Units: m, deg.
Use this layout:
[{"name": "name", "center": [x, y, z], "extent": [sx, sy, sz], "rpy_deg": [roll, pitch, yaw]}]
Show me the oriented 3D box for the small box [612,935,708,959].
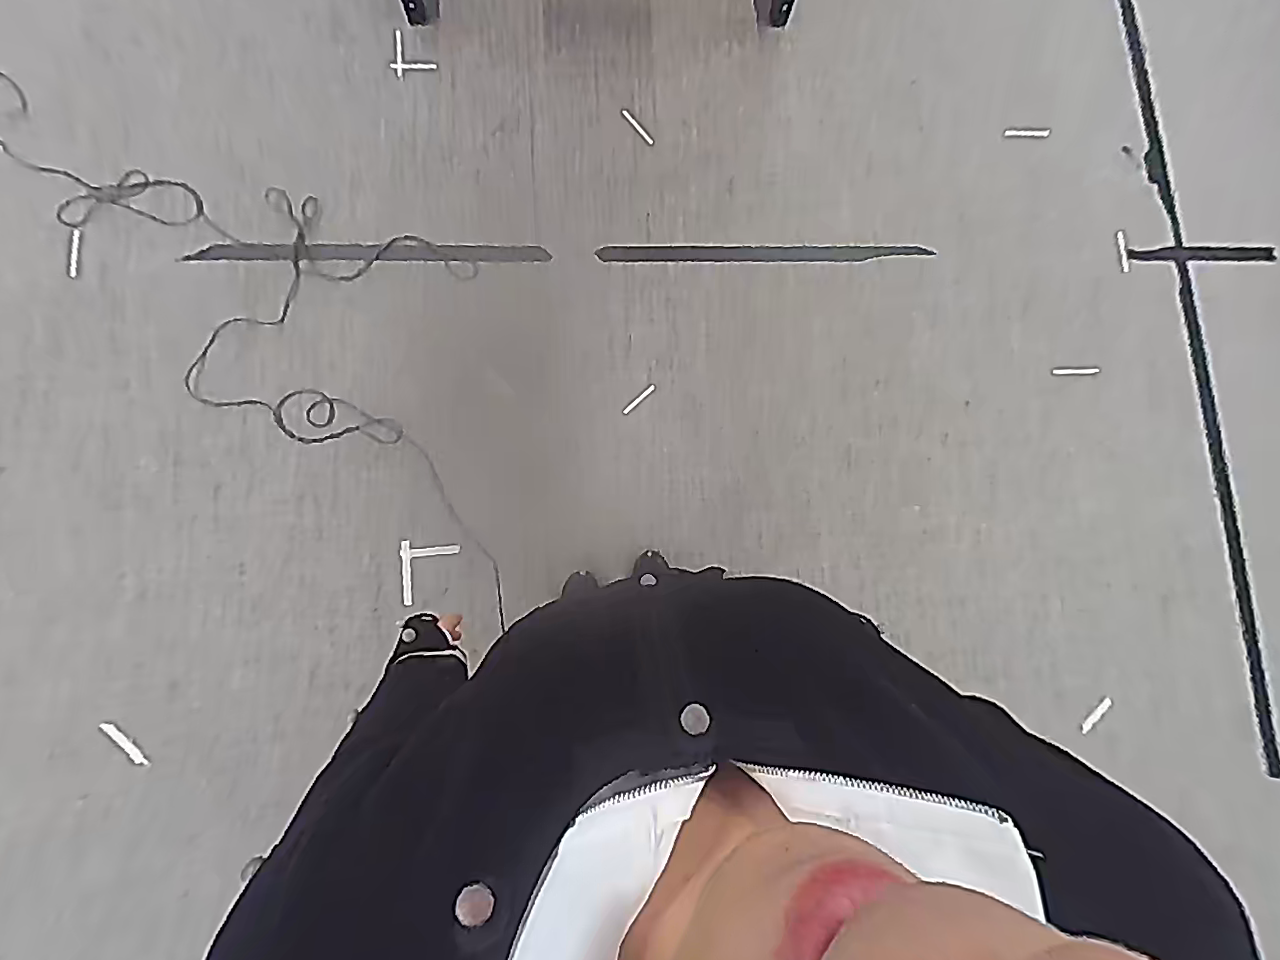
[{"name": "small box", "center": [0.043, 0.876, 0.854], "extent": [0.168, 0.176, 0.179], "rpy_deg": [-2, 81, -6]}]
